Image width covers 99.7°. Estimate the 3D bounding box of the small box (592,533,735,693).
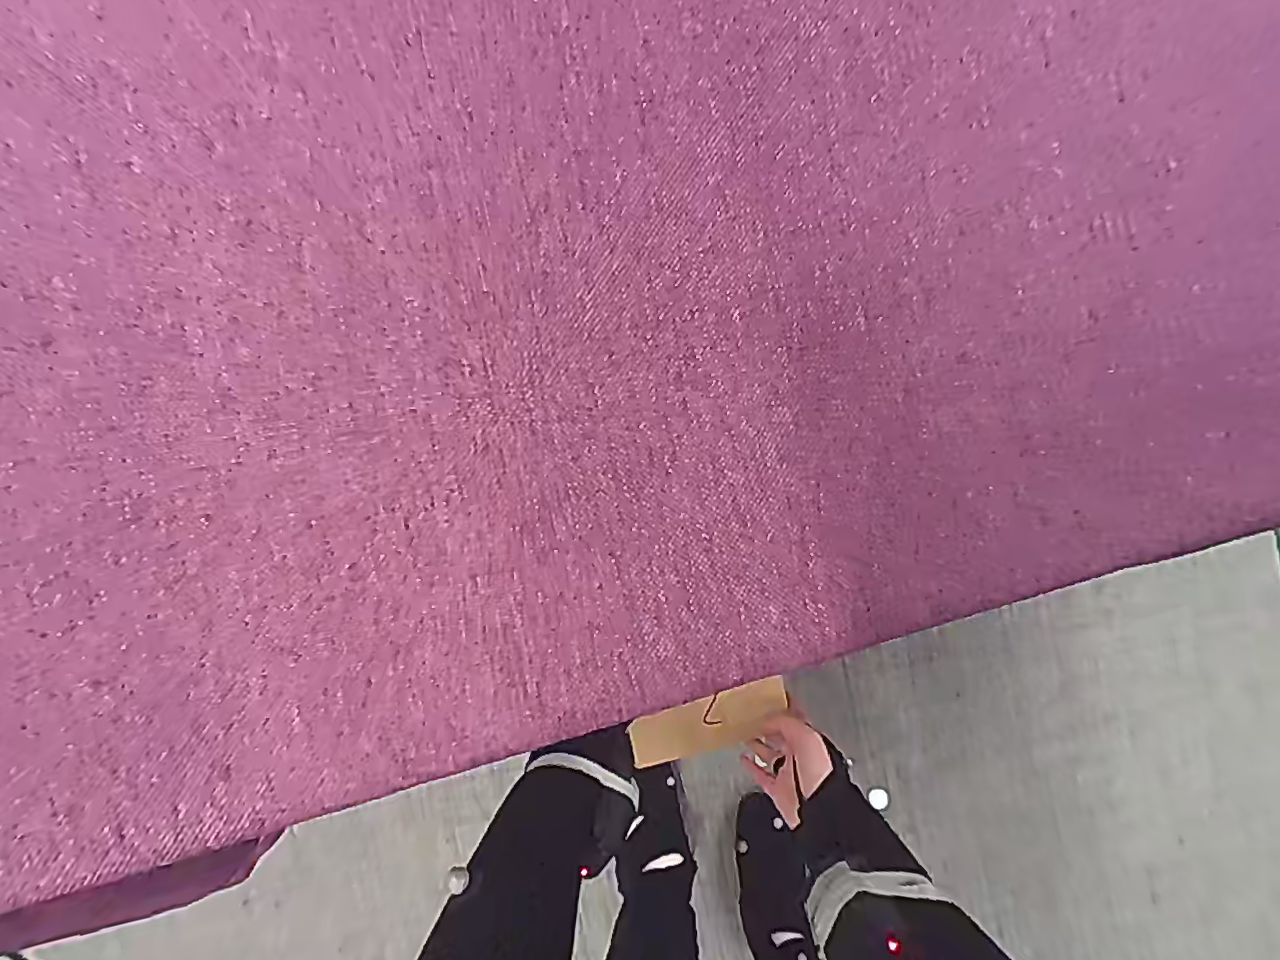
[{"bbox_3d":[0.029,0.184,0.802,0.168,0.176,0.179,-12,89,-4],"label":"small box"}]
